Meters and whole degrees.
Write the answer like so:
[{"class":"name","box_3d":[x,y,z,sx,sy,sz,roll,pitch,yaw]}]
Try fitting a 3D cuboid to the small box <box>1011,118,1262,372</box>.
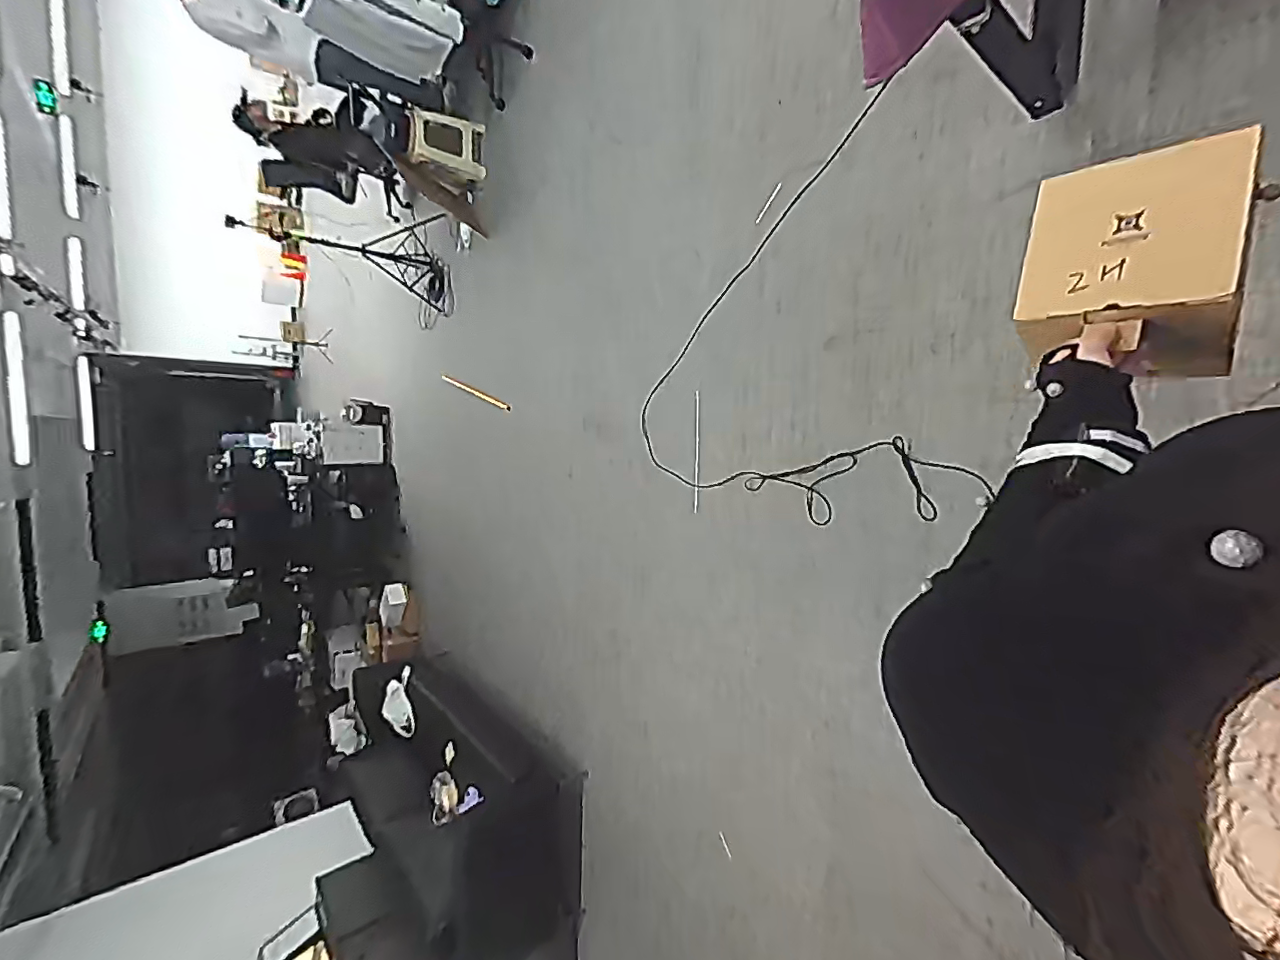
[{"class":"small box","box_3d":[0.537,-0.234,0.591,0.168,0.176,0.179,10,82,48]}]
